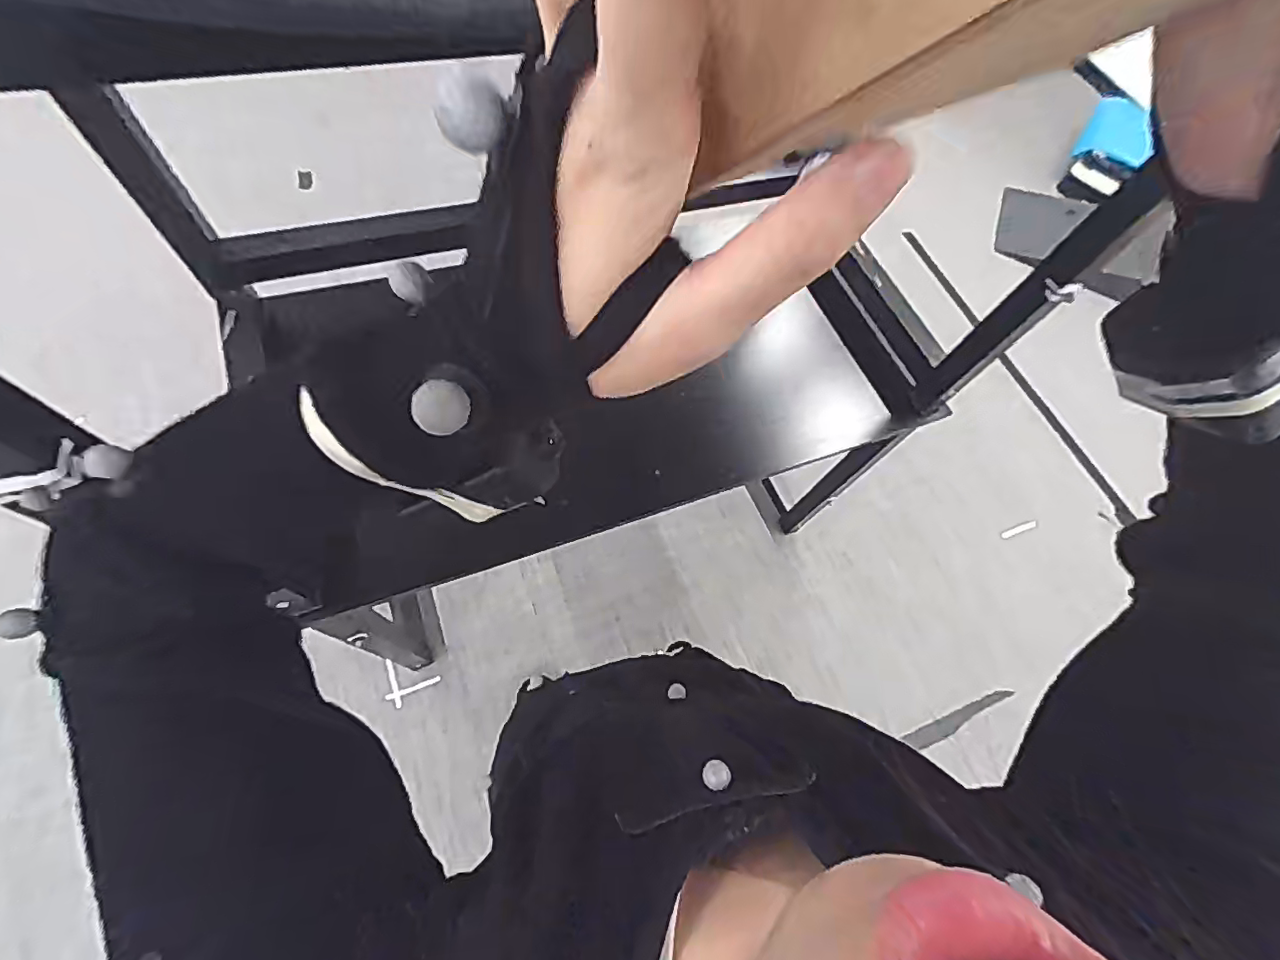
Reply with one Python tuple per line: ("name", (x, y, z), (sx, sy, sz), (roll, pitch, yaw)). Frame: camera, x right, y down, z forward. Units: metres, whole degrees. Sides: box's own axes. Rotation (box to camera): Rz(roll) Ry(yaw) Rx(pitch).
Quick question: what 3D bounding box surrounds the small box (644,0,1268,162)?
("small box", (0.085, -0.173, 0.082), (0.168, 0.176, 0.179), (-22, 110, -7))
